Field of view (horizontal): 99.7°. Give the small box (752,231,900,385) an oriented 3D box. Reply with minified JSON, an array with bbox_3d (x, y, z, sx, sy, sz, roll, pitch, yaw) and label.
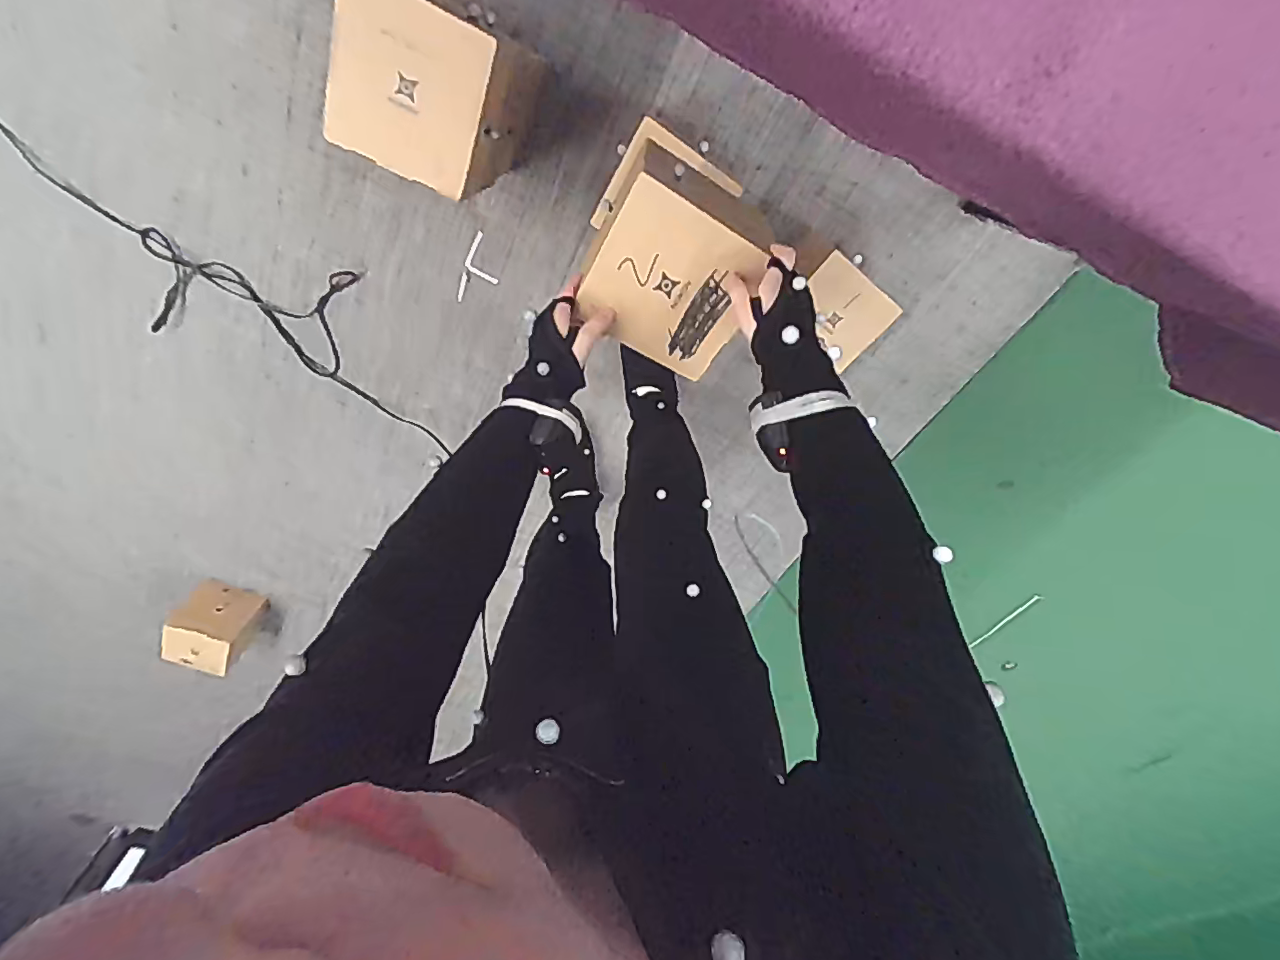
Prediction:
[{"bbox_3d":[0.317,-0.309,0.965,0.168,0.176,0.179,32,120,-19],"label":"small box"}]

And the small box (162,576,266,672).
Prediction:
[{"bbox_3d":[-1.209,0.407,1.543,0.168,0.176,0.179,27,122,-15],"label":"small box"}]
